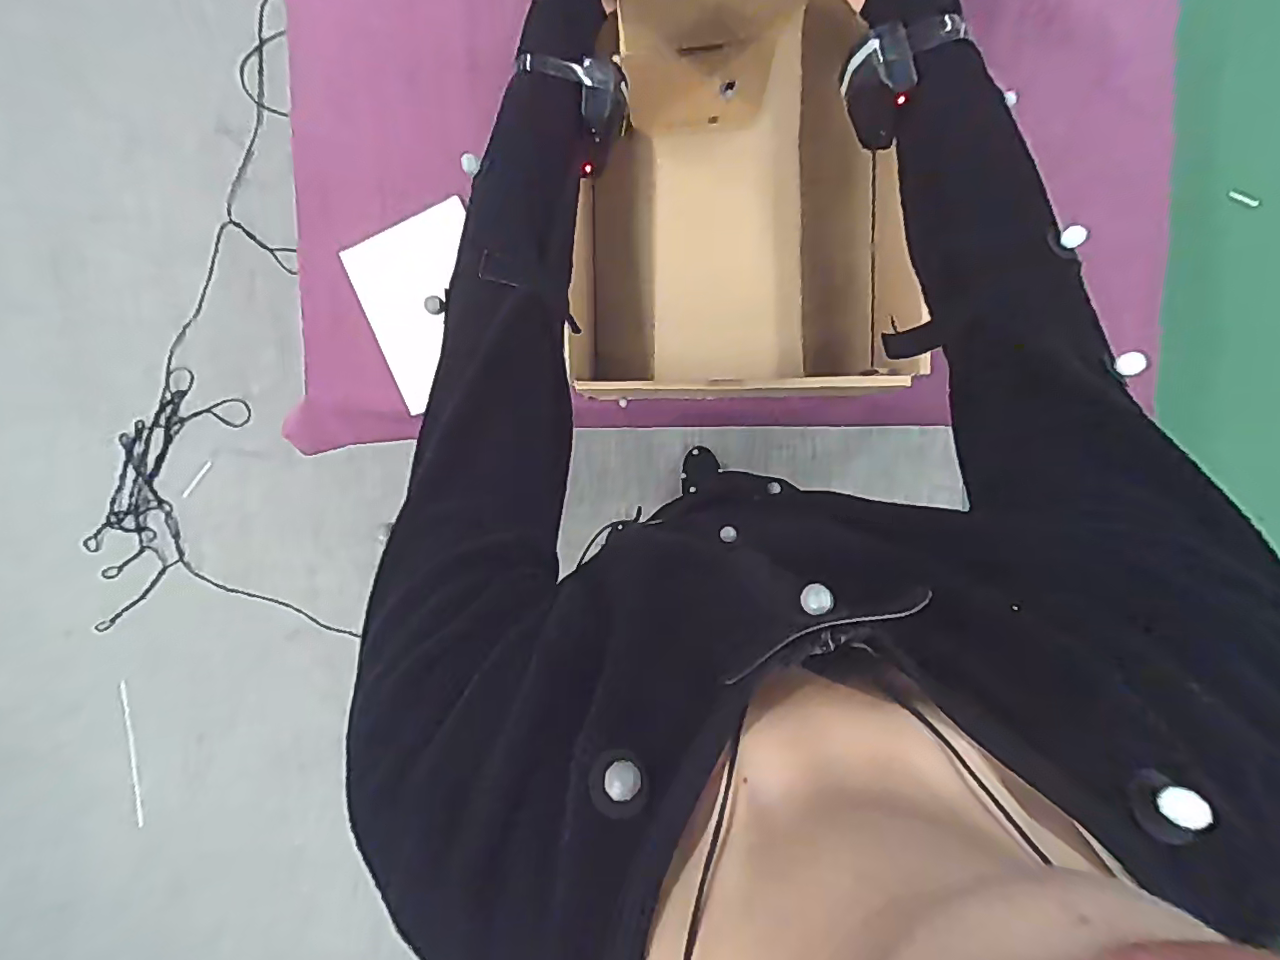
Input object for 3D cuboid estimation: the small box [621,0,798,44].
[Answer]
[{"bbox_3d":[0.063,-0.515,0.452,0.179,0.176,0.168,-4,94,5],"label":"small box"}]
